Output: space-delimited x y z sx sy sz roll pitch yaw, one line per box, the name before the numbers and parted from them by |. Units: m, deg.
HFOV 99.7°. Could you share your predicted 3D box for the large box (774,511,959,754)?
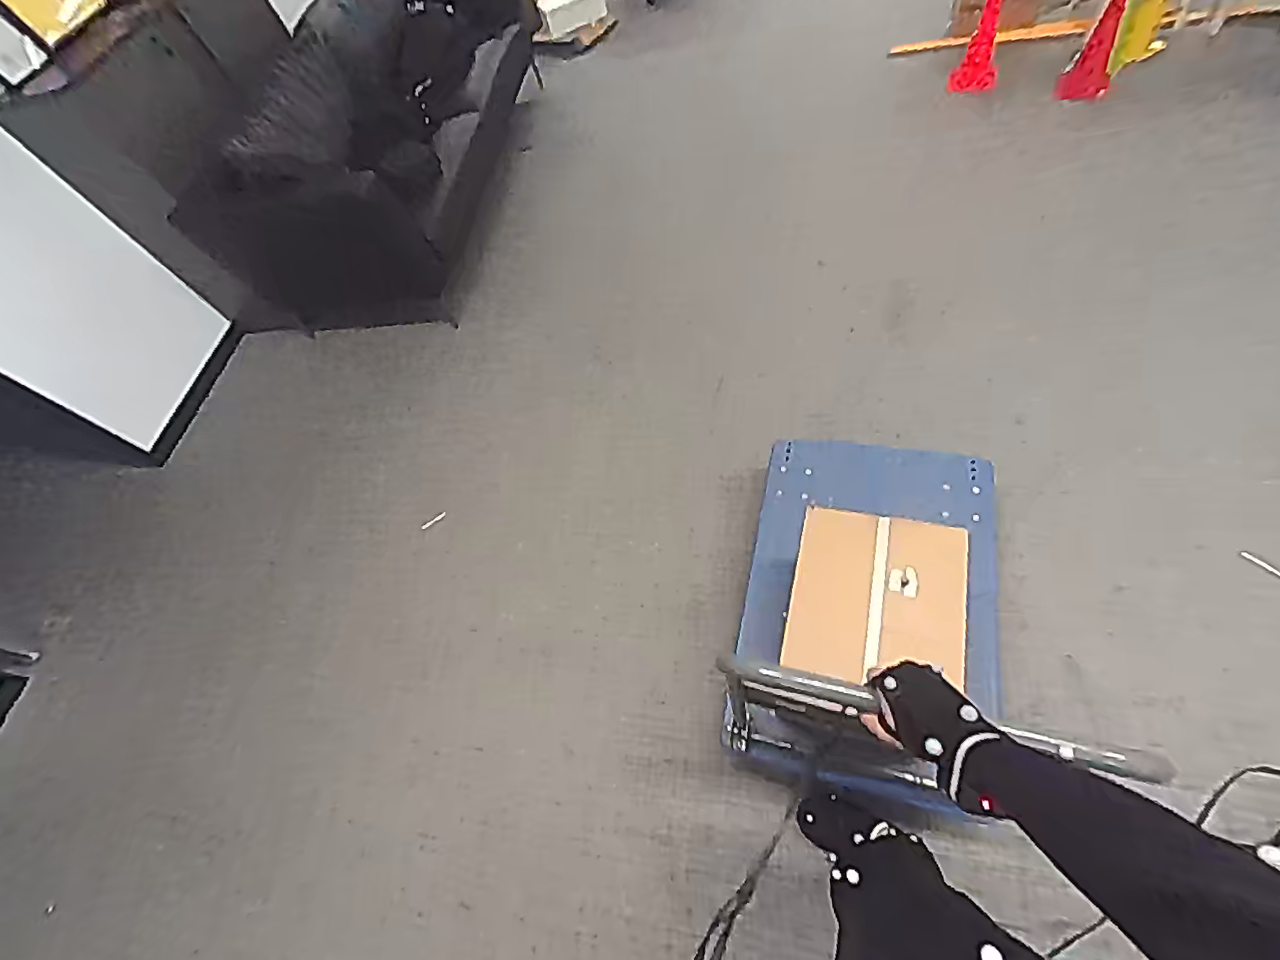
large box | 0.483 0.332 1.179 0.320 0.320 0.408 9 62 19
